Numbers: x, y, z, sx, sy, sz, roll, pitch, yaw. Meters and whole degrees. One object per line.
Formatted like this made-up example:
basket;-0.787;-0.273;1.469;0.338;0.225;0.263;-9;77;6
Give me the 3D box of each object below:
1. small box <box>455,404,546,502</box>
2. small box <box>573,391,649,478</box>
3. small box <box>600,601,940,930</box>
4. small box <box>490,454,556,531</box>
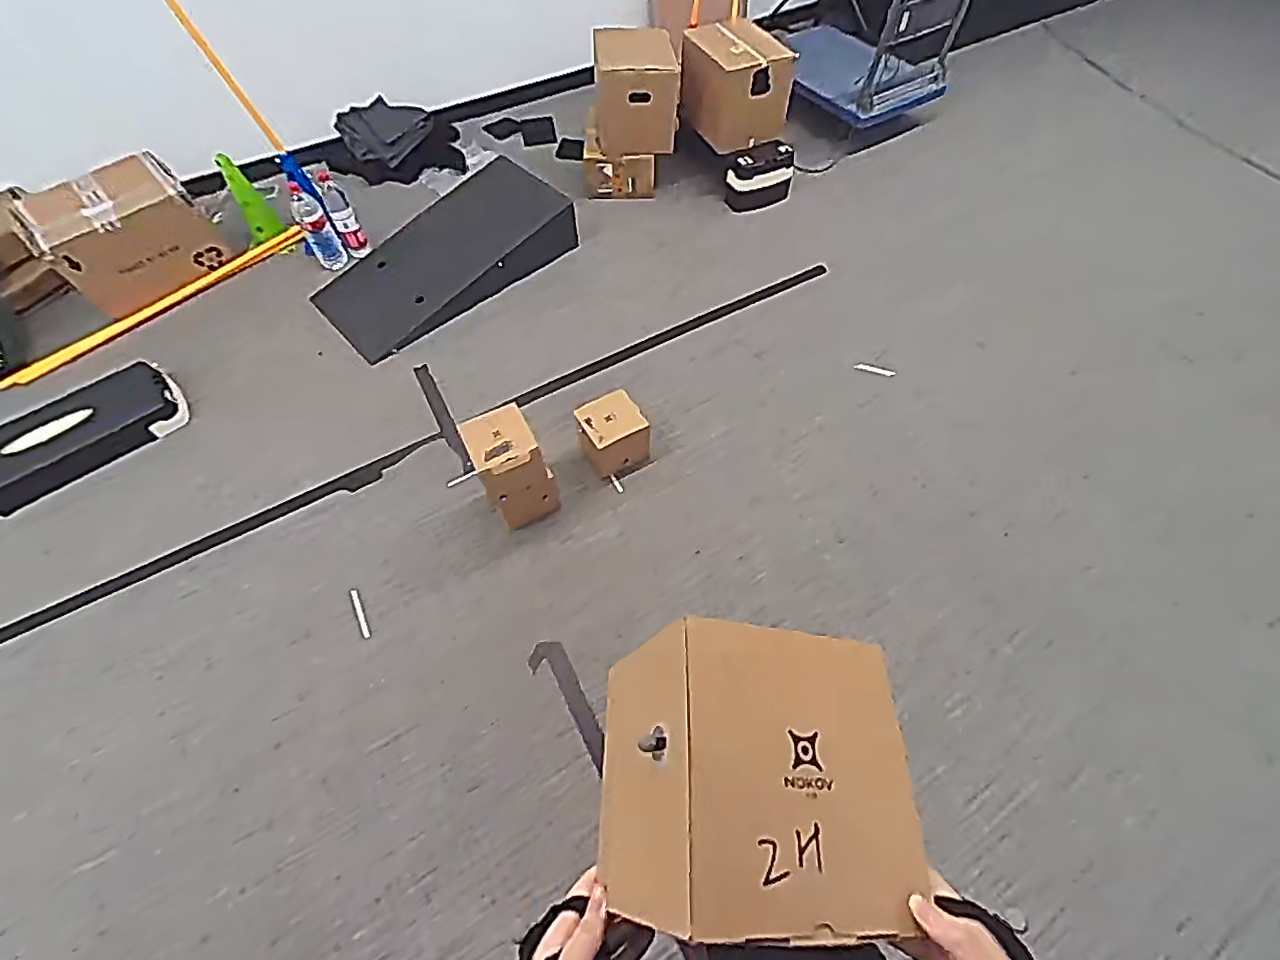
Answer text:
small box;-0.364;-0.064;1.431;0.168;0.176;0.179;-25;60;-15
small box;-0.089;-0.137;1.664;0.179;0.176;0.168;-26;61;-15
small box;0.075;0.212;0.404;0.168;0.176;0.179;14;55;-16
small box;-0.355;0.016;1.574;0.179;0.176;0.168;-28;62;-15
